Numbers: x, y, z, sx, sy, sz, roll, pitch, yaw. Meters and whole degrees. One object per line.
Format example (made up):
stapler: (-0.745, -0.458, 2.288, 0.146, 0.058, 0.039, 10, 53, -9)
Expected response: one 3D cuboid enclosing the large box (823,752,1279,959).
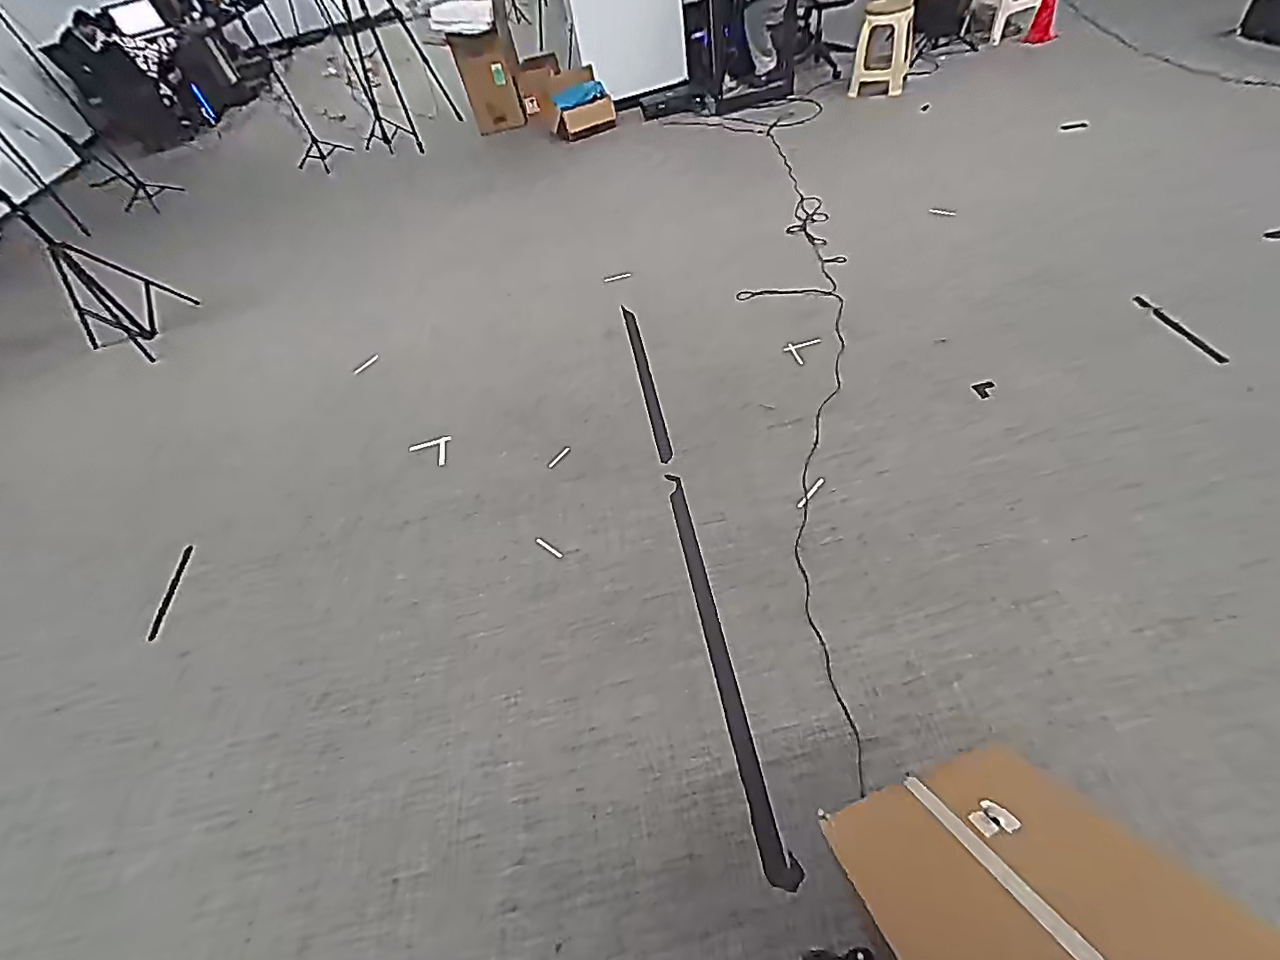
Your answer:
large box: (0.487, 0.616, 0.643, 0.320, 0.408, 0.320, -21, 89, -3)
